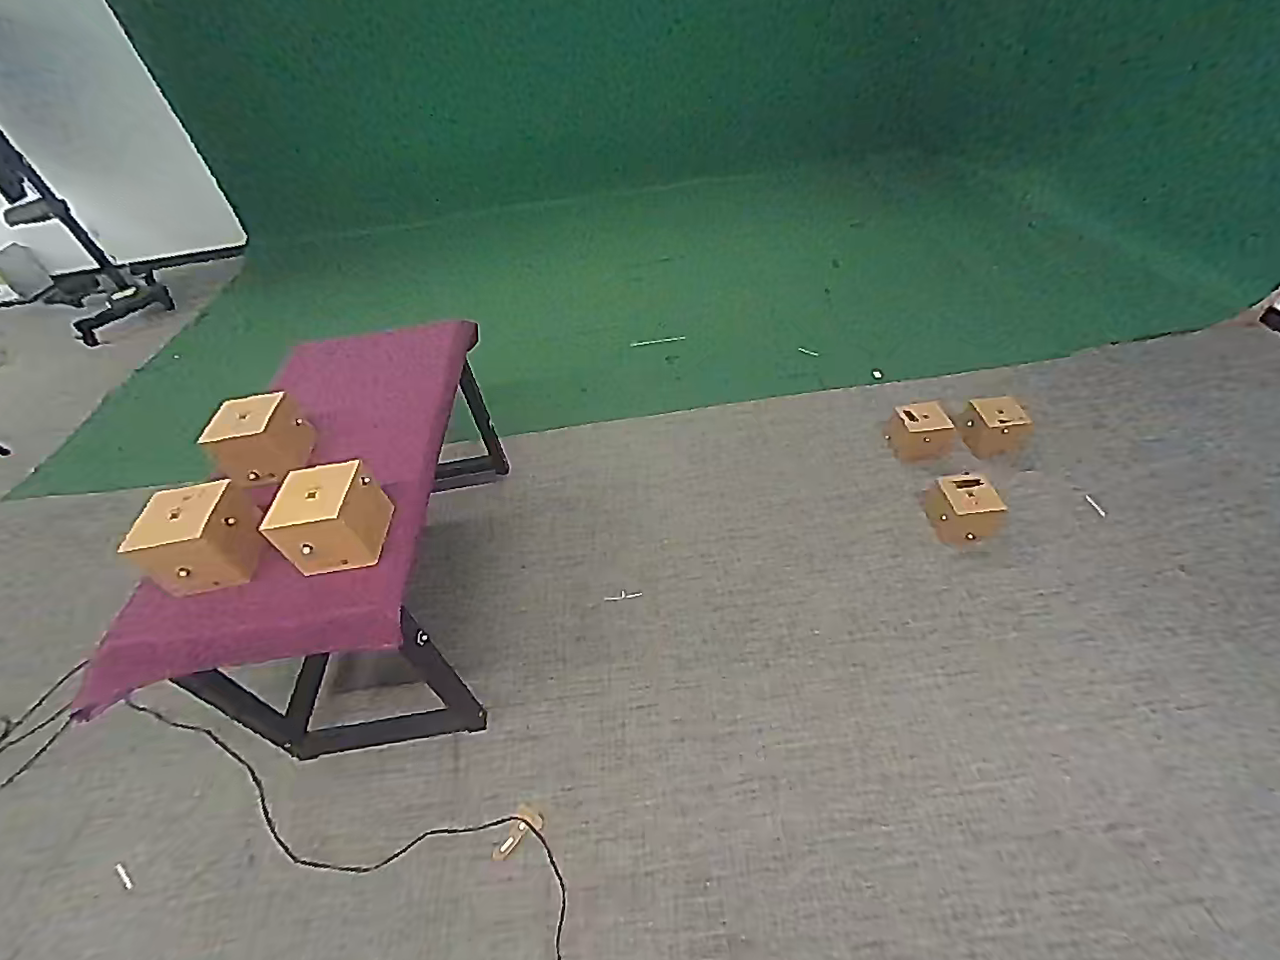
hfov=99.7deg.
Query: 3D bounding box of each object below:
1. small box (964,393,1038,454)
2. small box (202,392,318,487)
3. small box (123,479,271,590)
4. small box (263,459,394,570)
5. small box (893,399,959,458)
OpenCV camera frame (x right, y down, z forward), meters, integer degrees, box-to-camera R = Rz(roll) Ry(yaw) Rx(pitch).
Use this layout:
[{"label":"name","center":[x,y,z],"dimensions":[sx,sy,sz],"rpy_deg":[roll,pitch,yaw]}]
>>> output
[{"label":"small box","center":[1.435,-0.224,2.164],"dimensions":[0.168,0.176,0.179],"rpy_deg":[-6,44,4]},{"label":"small box","center":[-0.995,-0.107,1.440],"dimensions":[0.168,0.176,0.179],"rpy_deg":[-10,45,0]},{"label":"small box","center":[-0.960,0.127,1.199],"dimensions":[0.168,0.176,0.179],"rpy_deg":[-11,45,-2]},{"label":"small box","center":[-0.673,0.083,1.194],"dimensions":[0.168,0.176,0.179],"rpy_deg":[-10,44,2]},{"label":"small box","center":[1.148,-0.203,2.190],"dimensions":[0.179,0.176,0.168],"rpy_deg":[-7,45,2]}]
